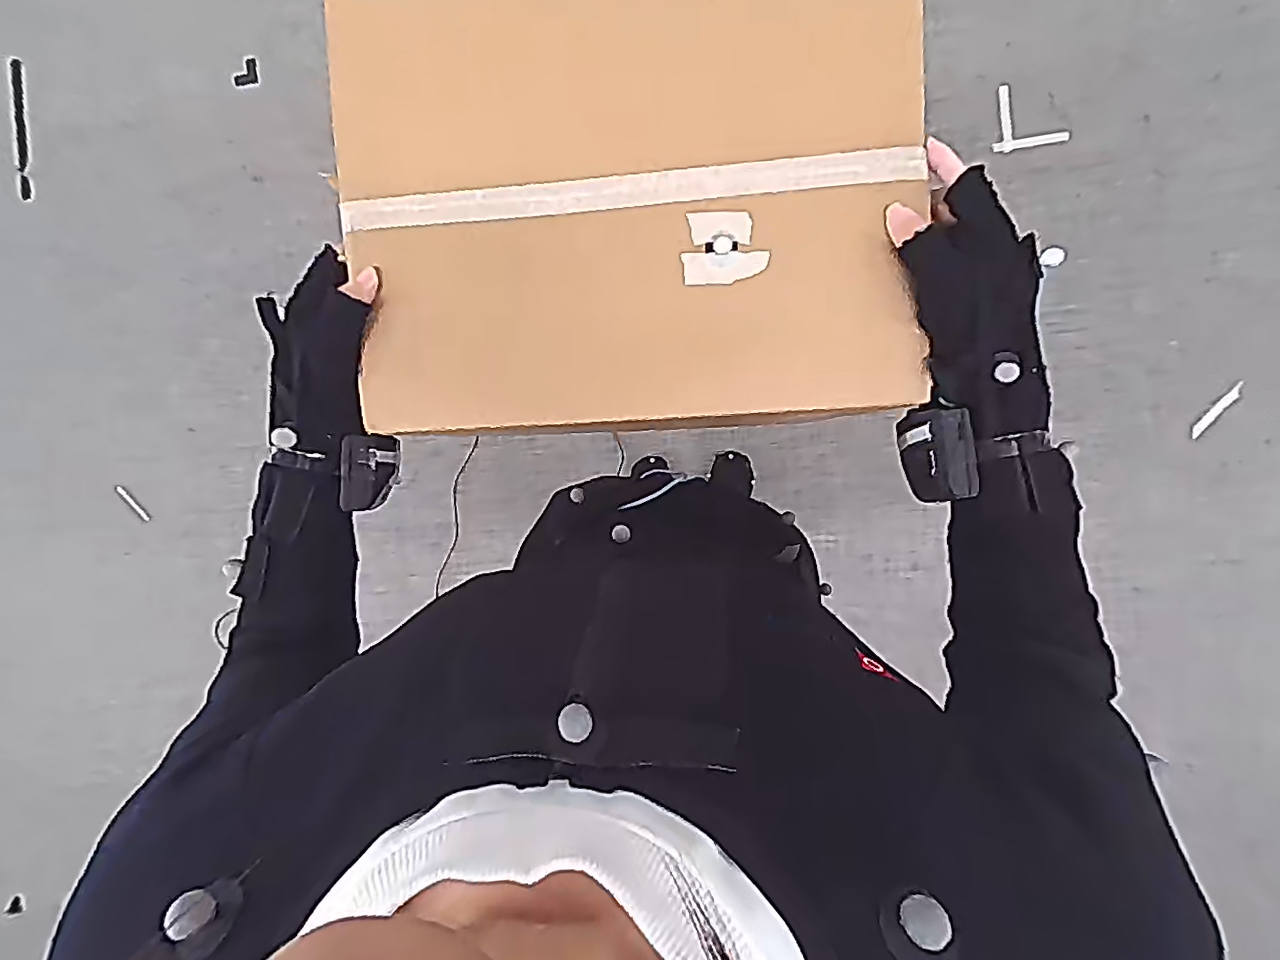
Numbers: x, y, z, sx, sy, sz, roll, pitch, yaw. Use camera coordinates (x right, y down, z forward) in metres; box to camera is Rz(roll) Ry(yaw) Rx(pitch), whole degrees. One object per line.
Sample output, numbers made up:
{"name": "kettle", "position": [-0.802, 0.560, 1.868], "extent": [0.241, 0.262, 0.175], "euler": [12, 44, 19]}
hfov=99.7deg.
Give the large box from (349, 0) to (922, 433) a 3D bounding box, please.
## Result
{"name": "large box", "position": [0.002, -0.217, 0.536], "extent": [0.408, 0.320, 0.320], "euler": [-3, 95, 4]}
